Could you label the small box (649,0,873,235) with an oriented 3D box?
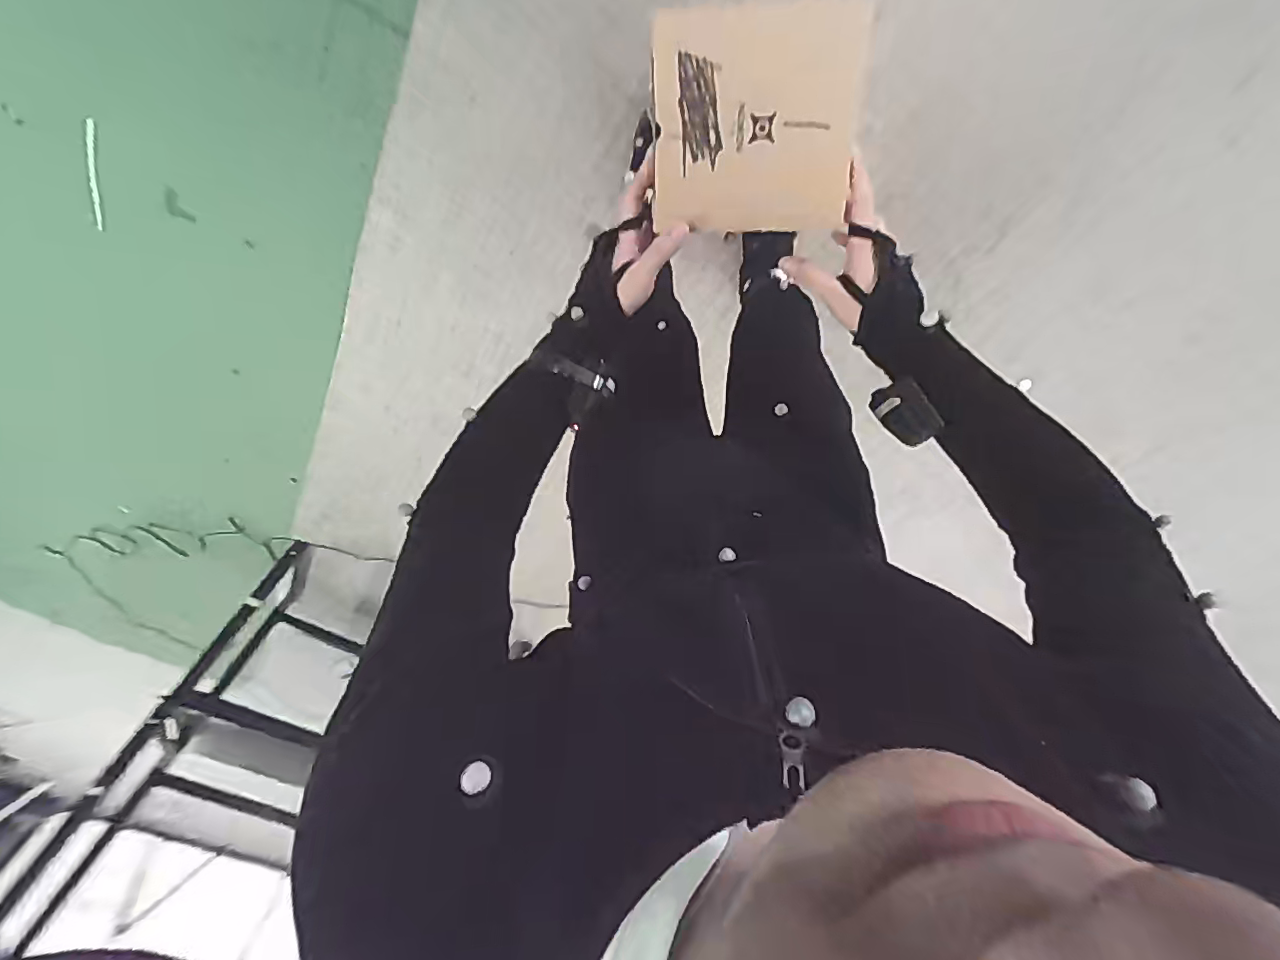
[{"bbox_3d":[0.105,-0.336,0.532,0.179,0.176,0.168,0,118,6],"label":"small box"}]
